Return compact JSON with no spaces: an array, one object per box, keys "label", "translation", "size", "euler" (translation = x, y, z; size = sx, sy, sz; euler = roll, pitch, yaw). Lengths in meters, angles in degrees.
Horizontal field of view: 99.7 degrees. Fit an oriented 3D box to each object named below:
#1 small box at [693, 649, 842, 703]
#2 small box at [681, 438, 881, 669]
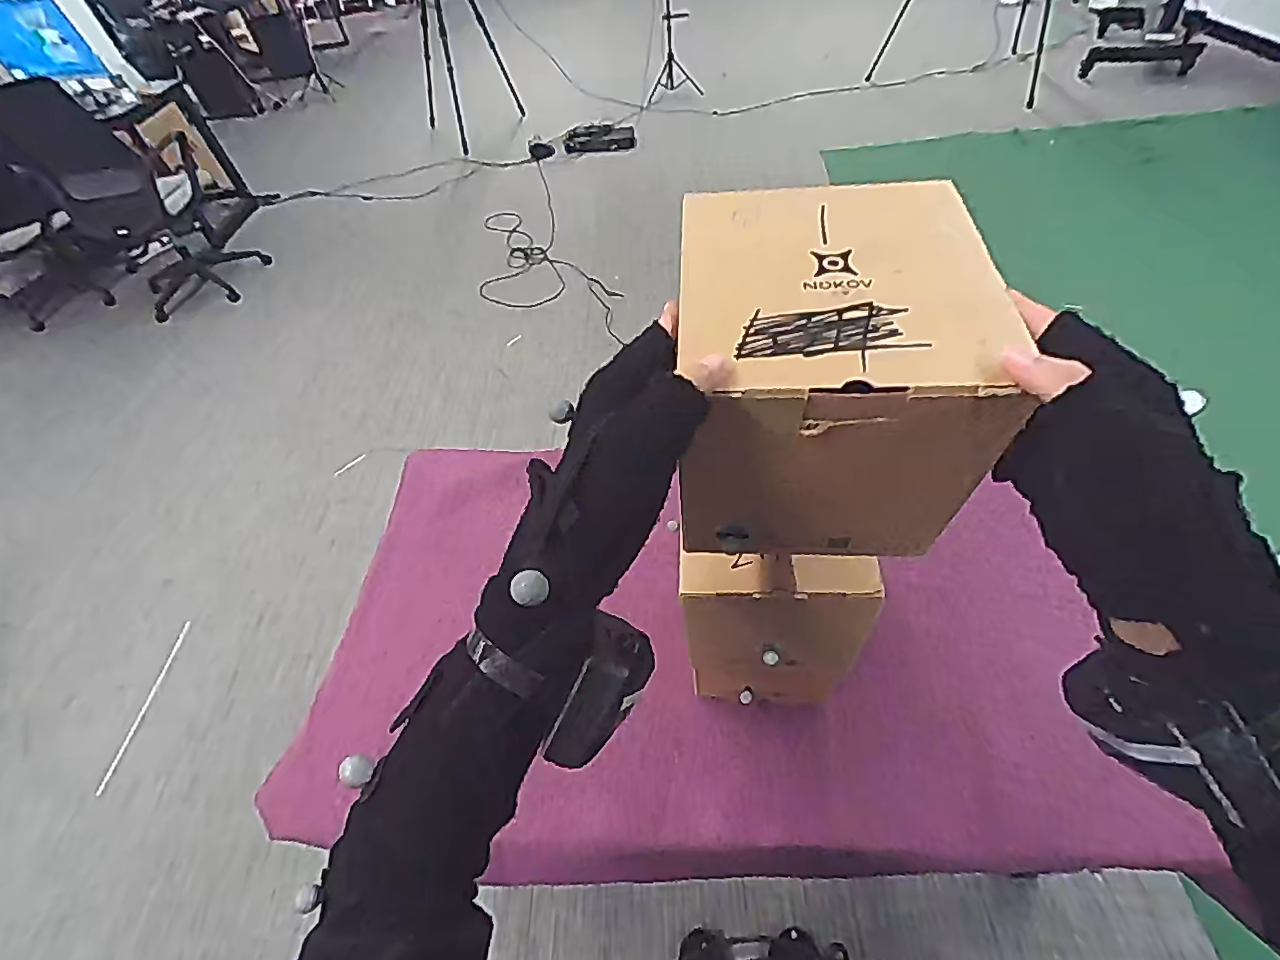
[{"label":"small box","translation":[0.154,0.167,0.696],"size":[0.168,0.176,0.179],"euler":[0,52,9]},{"label":"small box","translation":[0.131,0.077,0.560],"size":[0.168,0.176,0.179],"euler":[-2,51,8]}]
